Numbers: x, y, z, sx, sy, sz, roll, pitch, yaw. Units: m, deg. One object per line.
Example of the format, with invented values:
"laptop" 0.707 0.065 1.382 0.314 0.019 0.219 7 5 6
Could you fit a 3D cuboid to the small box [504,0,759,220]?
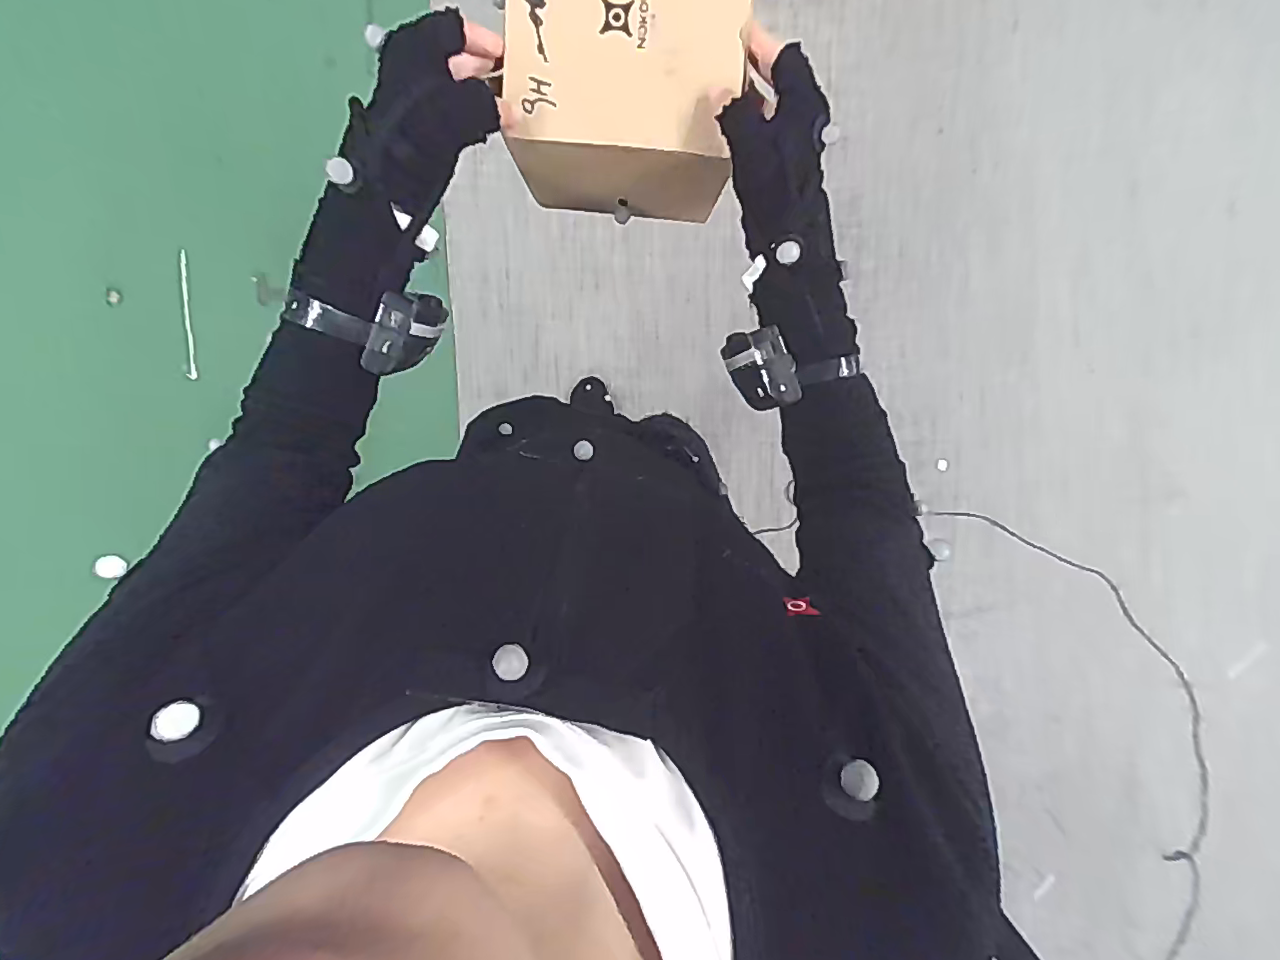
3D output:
"small box" -0.009 -0.337 0.460 0.179 0.176 0.168 5 99 -3
